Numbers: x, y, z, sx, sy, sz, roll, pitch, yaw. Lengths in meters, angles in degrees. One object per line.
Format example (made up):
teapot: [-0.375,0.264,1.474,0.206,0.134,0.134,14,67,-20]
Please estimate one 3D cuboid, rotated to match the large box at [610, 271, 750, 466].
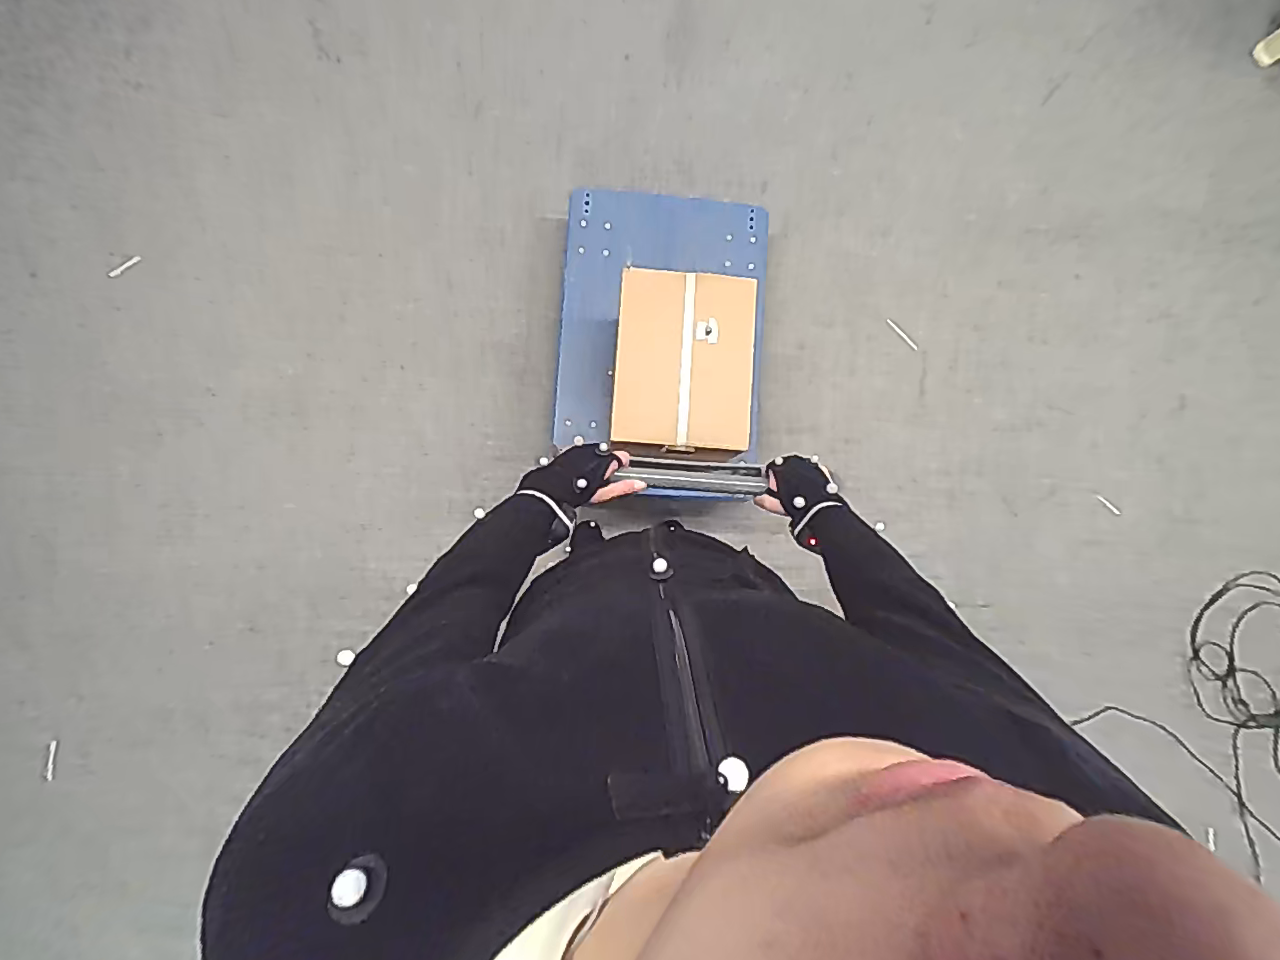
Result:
large box: [0.086,-0.256,1.368,0.320,0.320,0.408,4,83,-4]
